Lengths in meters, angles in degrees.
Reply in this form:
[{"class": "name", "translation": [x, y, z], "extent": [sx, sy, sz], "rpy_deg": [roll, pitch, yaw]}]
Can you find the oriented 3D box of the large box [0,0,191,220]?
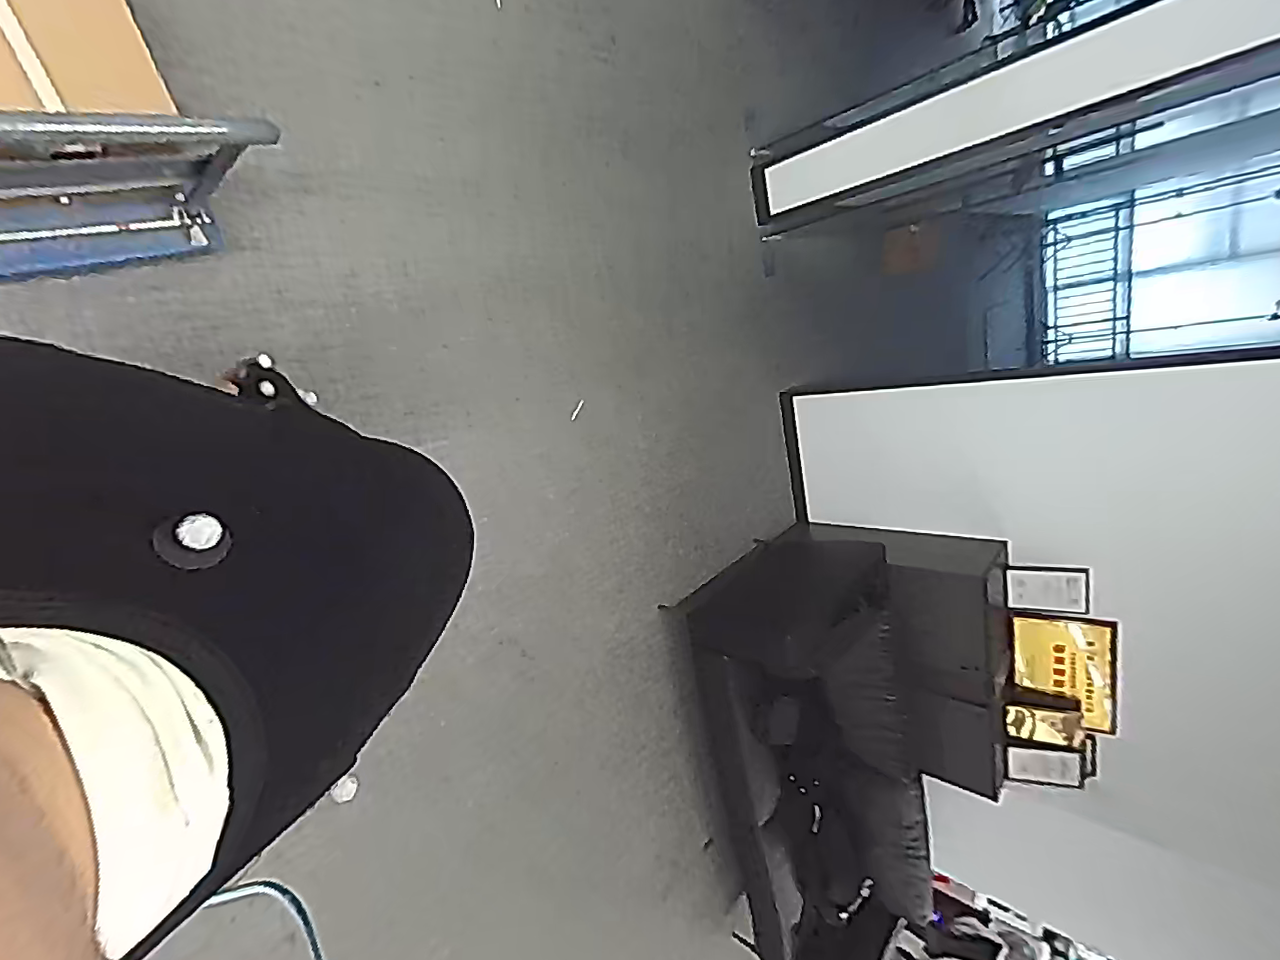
[{"class": "large box", "translation": [-1.016, -0.685, 0.864], "extent": [0.320, 0.320, 0.408], "rpy_deg": [-33, 114, -40]}]
